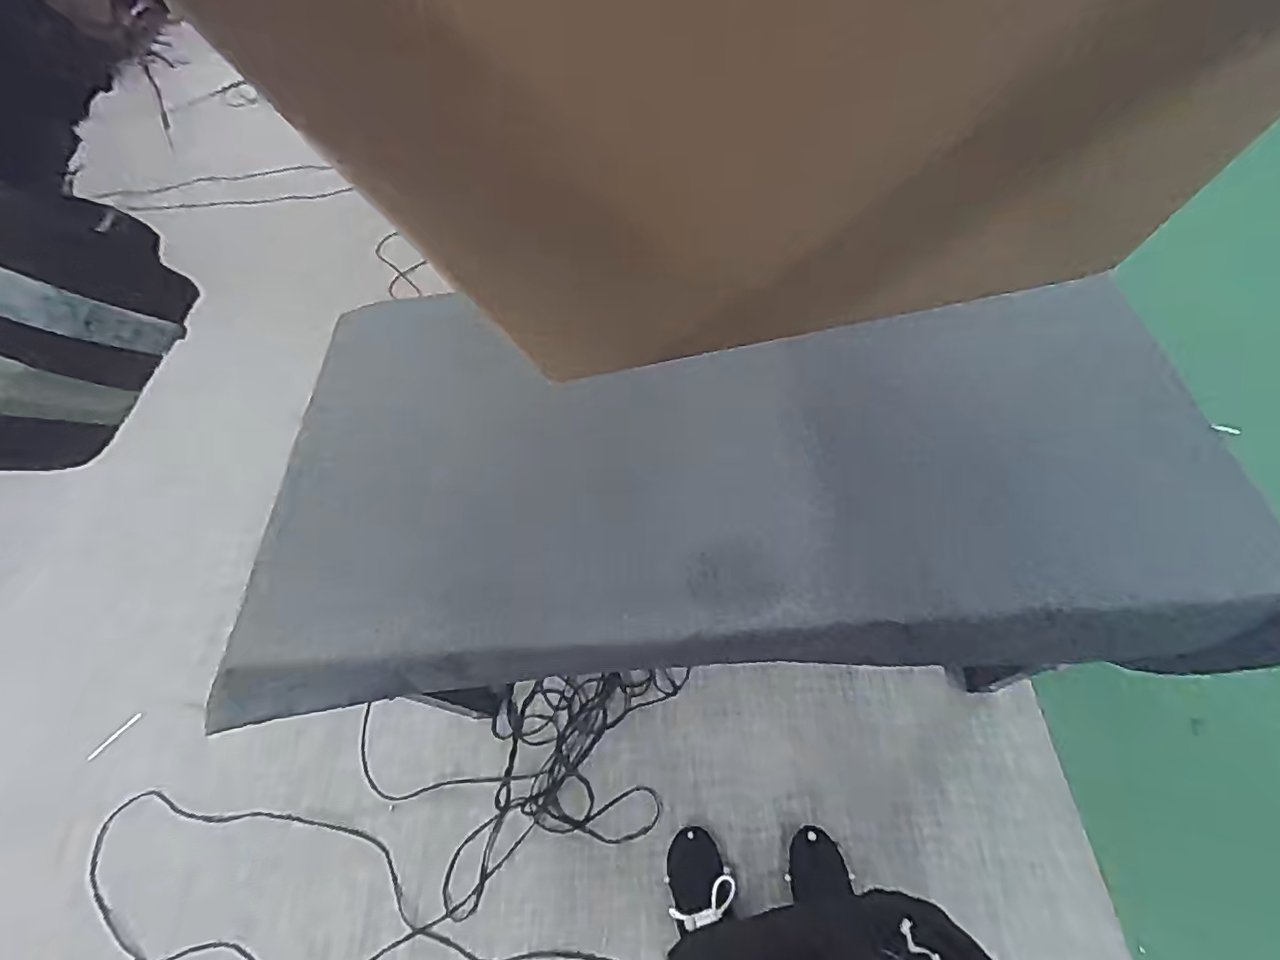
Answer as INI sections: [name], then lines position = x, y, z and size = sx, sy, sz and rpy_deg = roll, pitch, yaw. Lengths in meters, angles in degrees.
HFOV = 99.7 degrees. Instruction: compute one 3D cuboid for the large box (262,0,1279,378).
[large box]
position = 0.083, -0.287, 0.291
size = 0.408, 0.320, 0.320
rpy_deg = -9, 77, 9
